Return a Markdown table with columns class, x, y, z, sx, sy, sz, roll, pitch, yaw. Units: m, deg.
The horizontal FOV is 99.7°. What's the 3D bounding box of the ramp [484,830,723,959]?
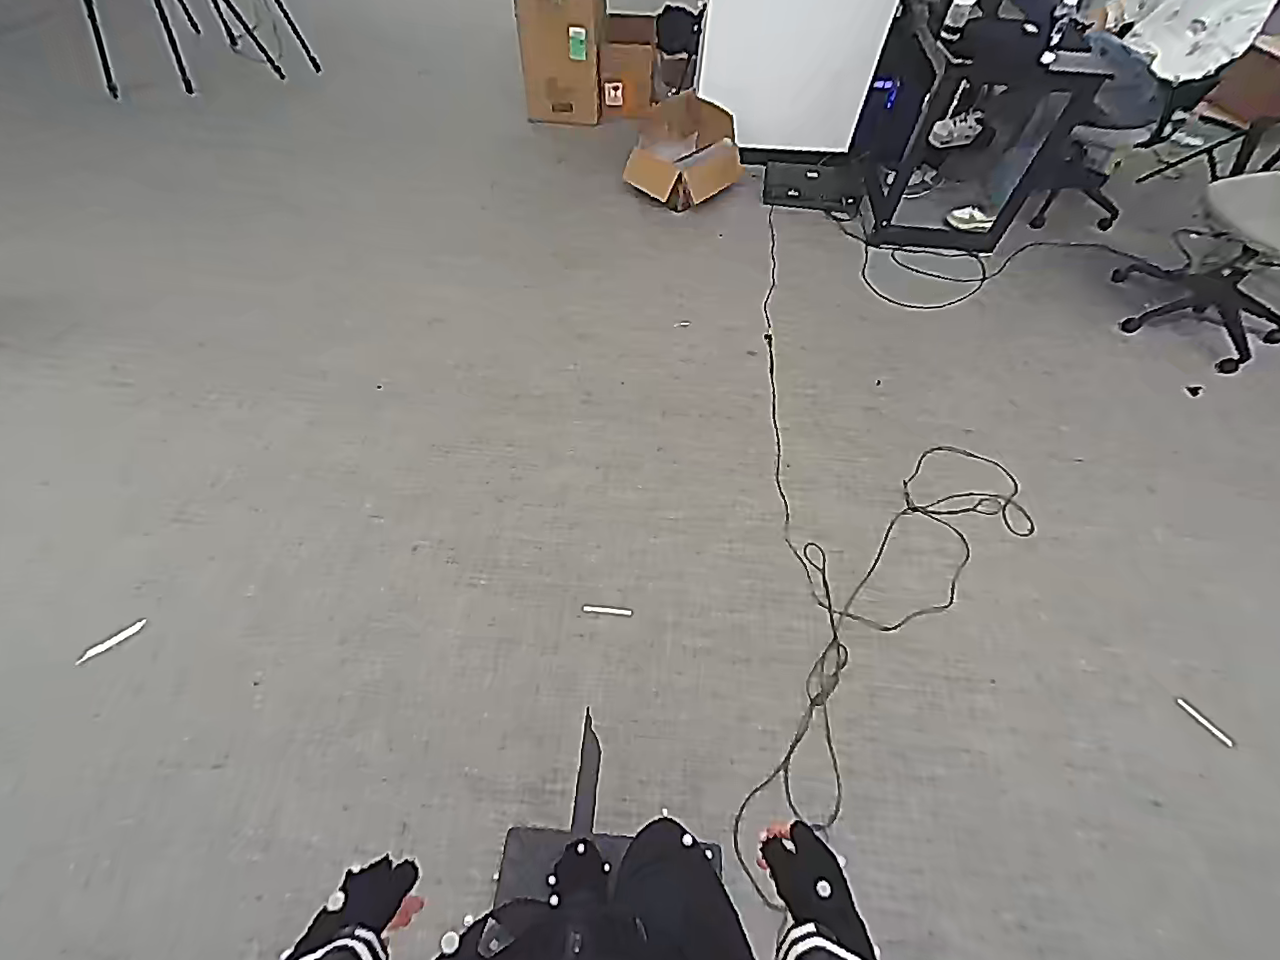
| class | x | y | z | sx | sy | sz | roll | pitch | yaw |
| --- | --- | --- | --- | --- | --- | --- | --- | --- | --- |
| ramp | -0.093 | 1.185 | 0.902 | 0.509 | 0.206 | 0.991 | 3 | 56 | 1 |
